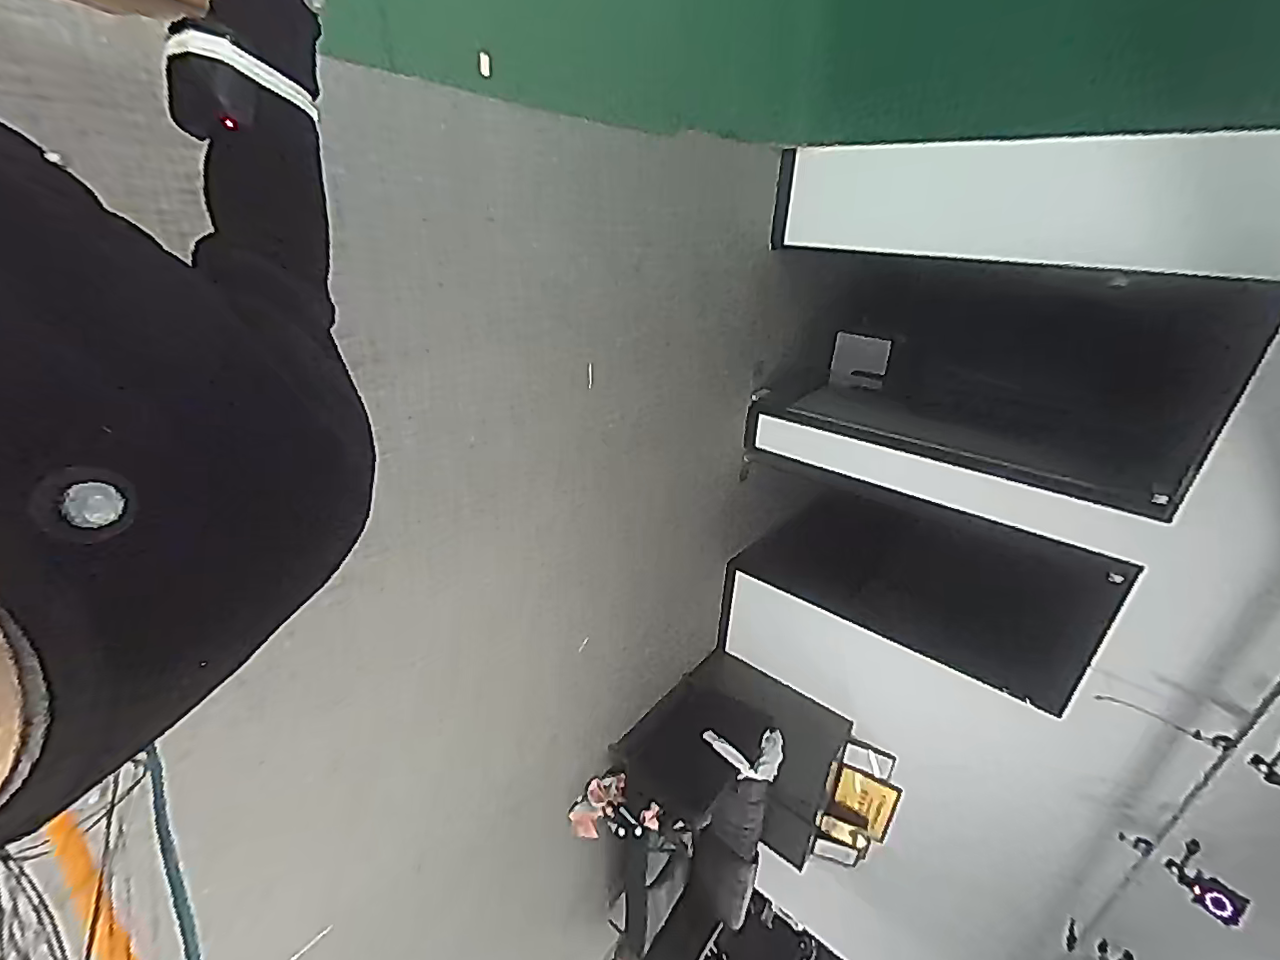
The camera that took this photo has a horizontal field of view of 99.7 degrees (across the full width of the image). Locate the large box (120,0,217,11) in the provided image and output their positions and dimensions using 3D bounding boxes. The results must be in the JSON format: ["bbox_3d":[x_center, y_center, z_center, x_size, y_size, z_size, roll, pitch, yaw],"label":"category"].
[{"bbox_3d":[-0.522,-0.524,0.280,0.408,0.320,0.320,-16,129,-51],"label":"large box"}]
